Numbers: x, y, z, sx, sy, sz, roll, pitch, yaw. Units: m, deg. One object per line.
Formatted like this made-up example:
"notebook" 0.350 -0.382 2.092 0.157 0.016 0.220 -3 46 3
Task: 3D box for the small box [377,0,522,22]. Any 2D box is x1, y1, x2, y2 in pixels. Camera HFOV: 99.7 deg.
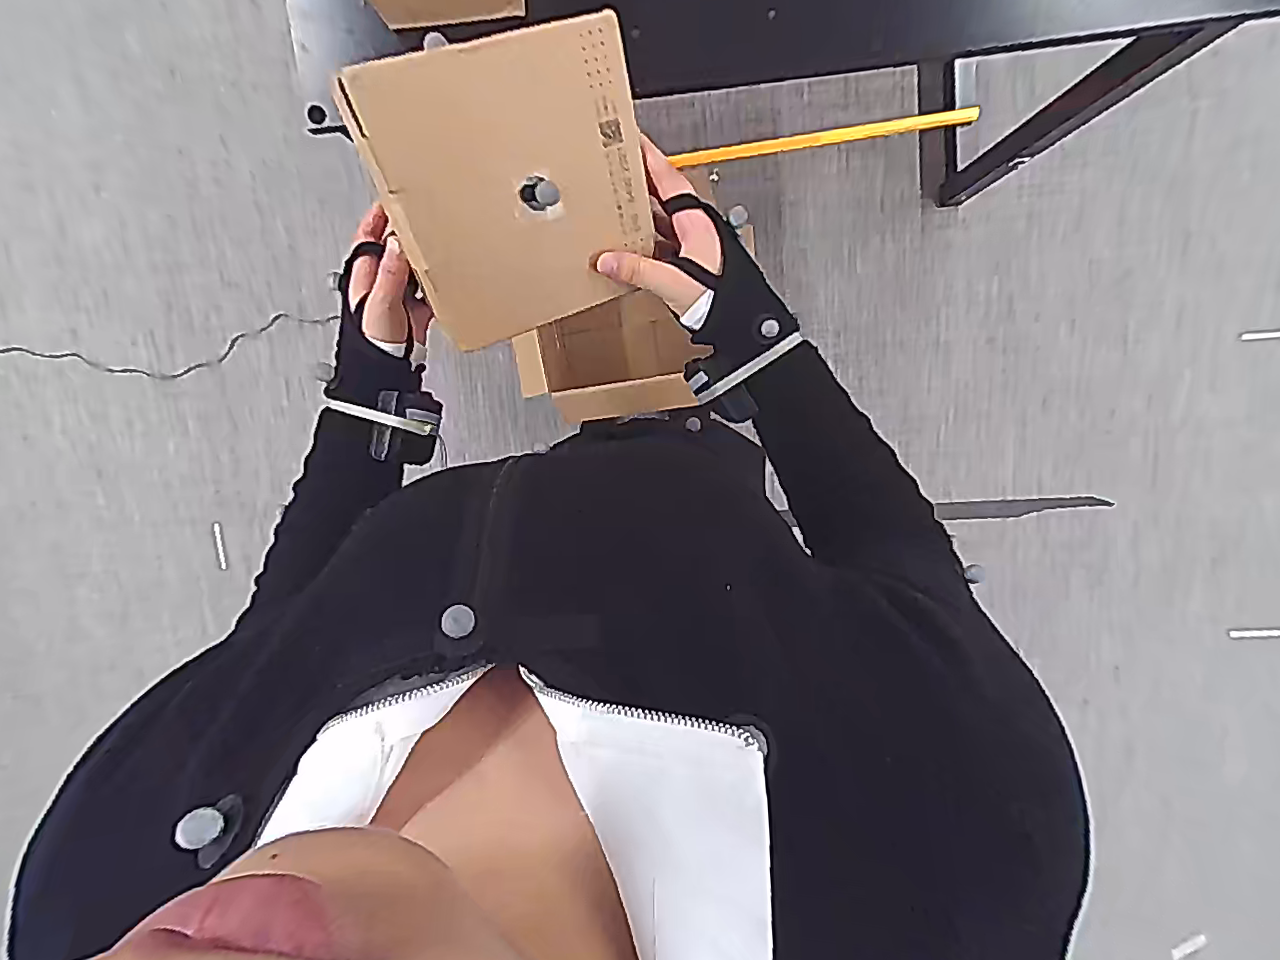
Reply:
"small box" -0.231 -0.631 0.572 0.179 0.176 0.168 -4 100 2
